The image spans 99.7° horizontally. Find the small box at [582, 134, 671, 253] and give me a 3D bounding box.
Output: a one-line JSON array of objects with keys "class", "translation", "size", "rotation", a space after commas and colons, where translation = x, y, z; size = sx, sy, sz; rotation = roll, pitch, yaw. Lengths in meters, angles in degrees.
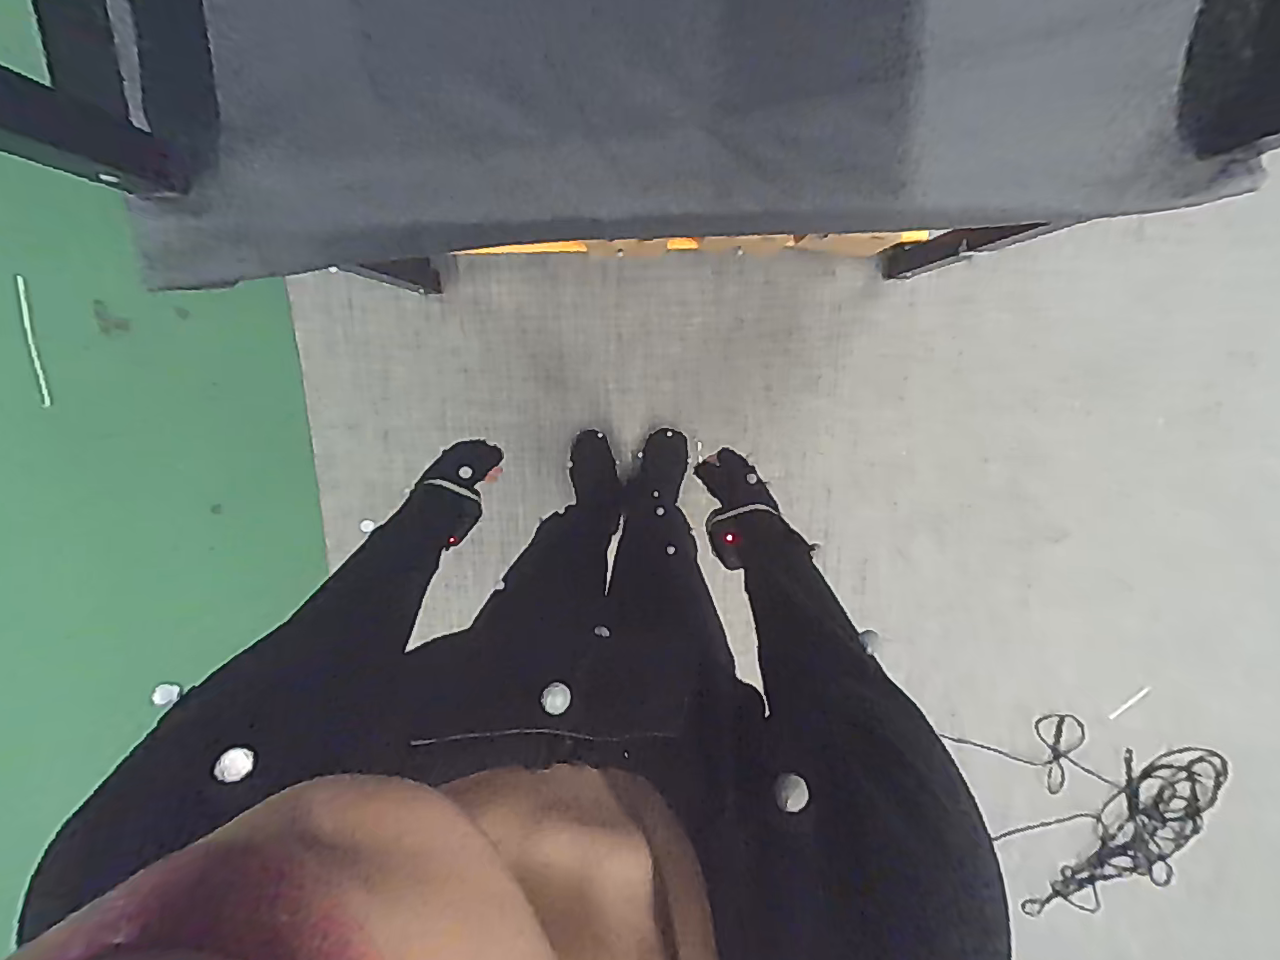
[{"class": "small box", "translation": [-0.027, -0.563, 1.081], "size": [0.168, 0.176, 0.179], "rotation": [0, 105, 0]}]
